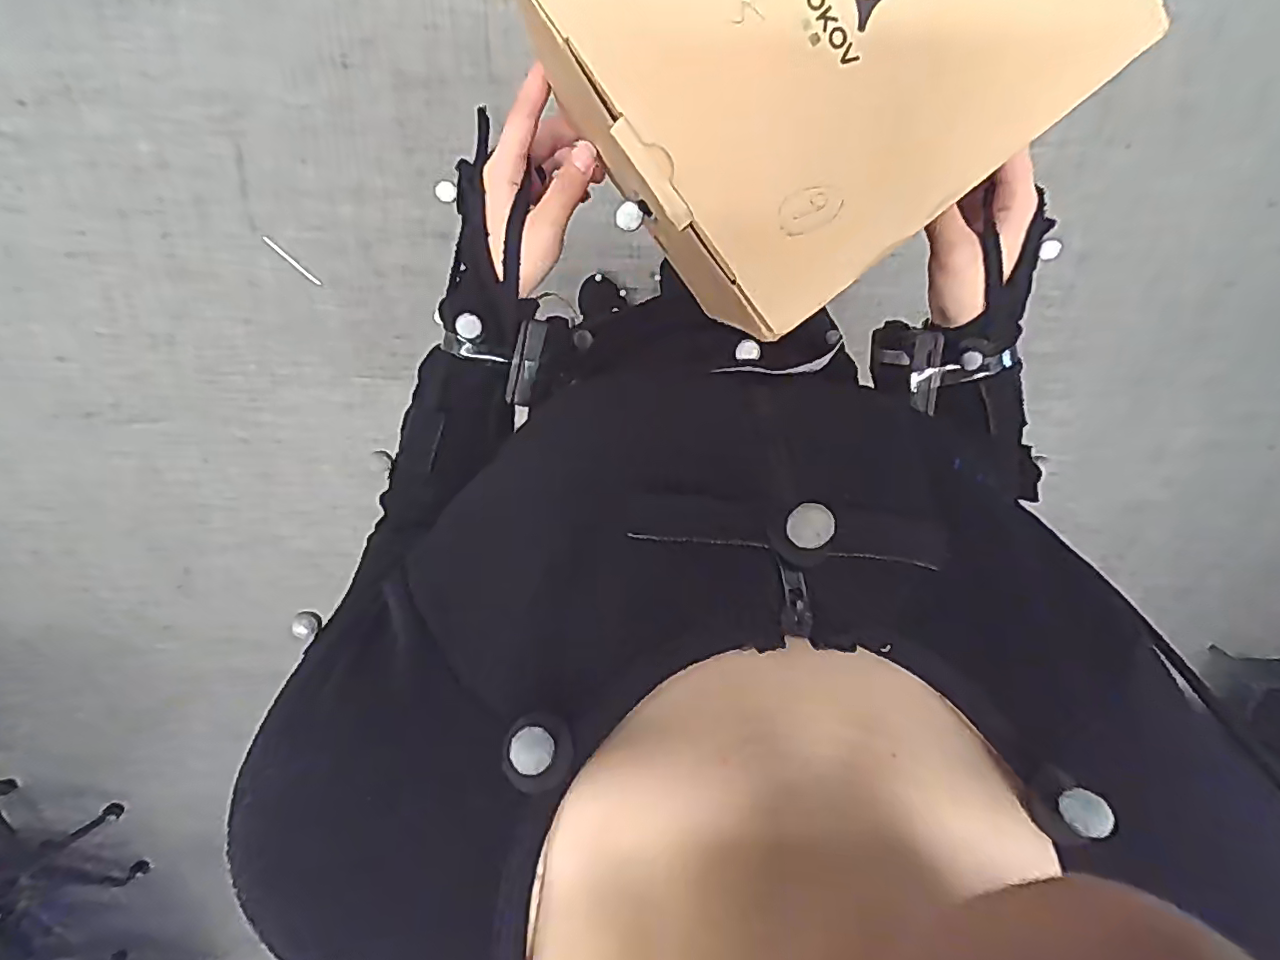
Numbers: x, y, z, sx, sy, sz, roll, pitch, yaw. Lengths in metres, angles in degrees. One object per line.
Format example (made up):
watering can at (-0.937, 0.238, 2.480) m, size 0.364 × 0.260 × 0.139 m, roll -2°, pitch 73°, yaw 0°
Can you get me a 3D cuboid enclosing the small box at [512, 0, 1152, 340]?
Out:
small box at (0.069, -0.193, 0.267) m, size 0.179 × 0.176 × 0.168 m, roll -37°, pitch 106°, yaw 12°
